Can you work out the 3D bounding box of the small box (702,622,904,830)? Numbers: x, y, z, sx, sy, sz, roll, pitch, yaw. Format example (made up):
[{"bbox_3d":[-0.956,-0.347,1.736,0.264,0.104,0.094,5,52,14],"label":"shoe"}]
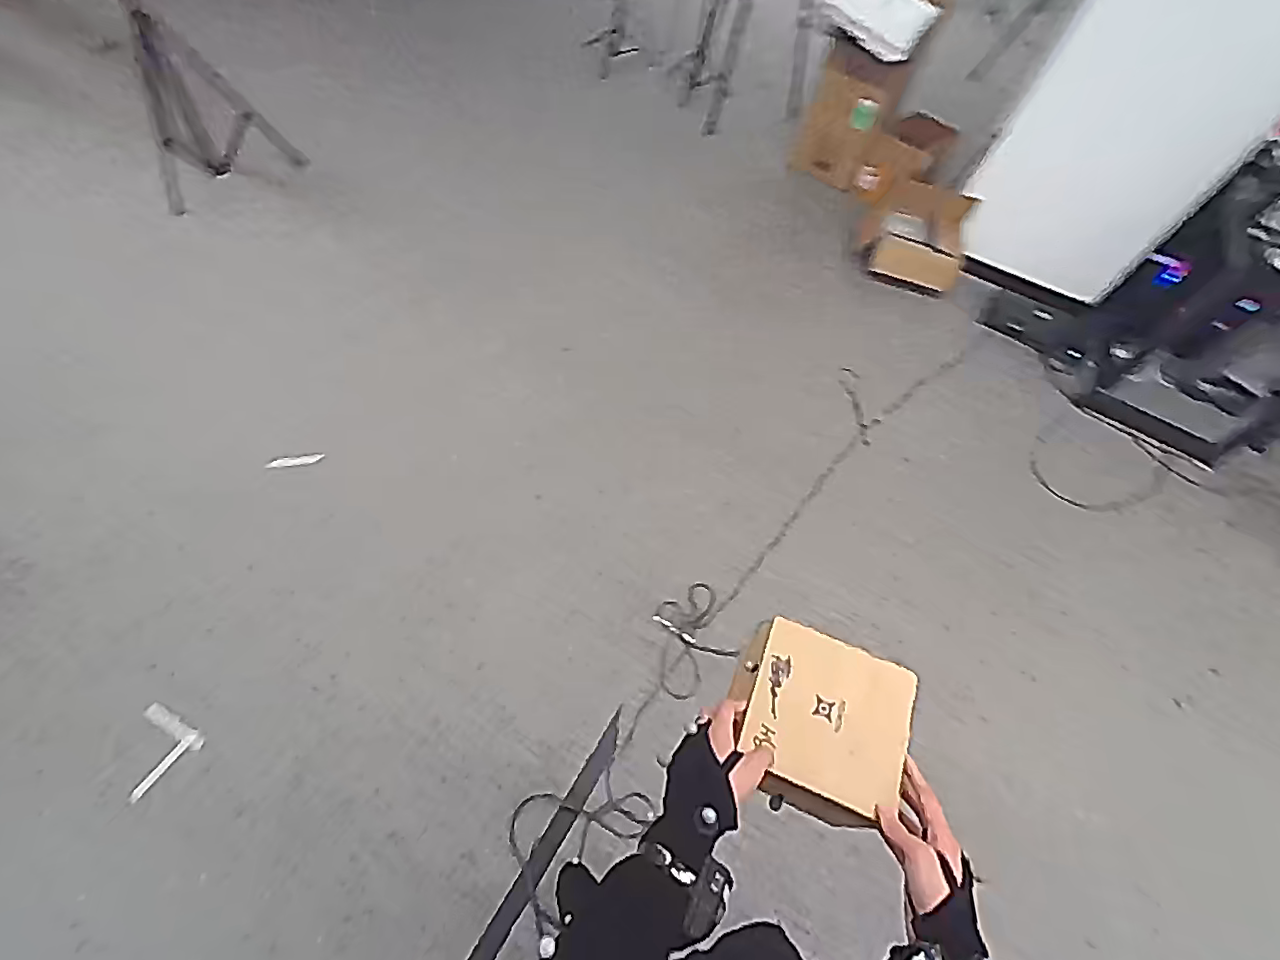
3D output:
[{"bbox_3d":[0.193,0.305,0.674,0.179,0.176,0.168,21,60,7],"label":"small box"}]
